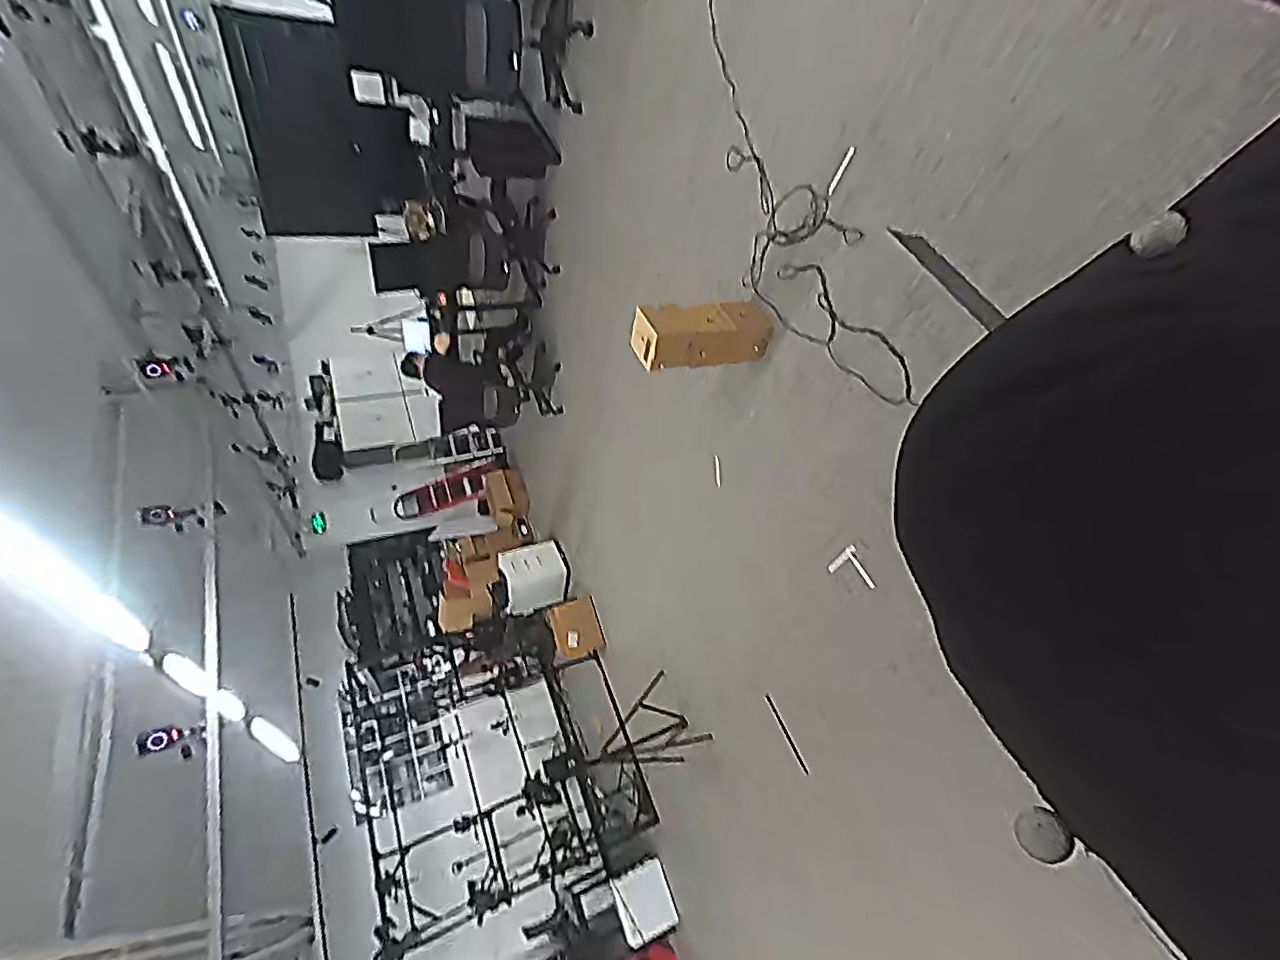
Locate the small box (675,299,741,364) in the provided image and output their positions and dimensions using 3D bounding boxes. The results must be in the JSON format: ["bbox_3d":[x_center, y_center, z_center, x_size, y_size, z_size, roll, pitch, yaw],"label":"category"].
[{"bbox_3d":[0.259,-0.566,2.041,0.168,0.176,0.179,62,153,31],"label":"small box"}]

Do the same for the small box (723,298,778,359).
[{"bbox_3d":[0.404,-0.595,2.108,0.179,0.176,0.168,61,152,33],"label":"small box"}]
